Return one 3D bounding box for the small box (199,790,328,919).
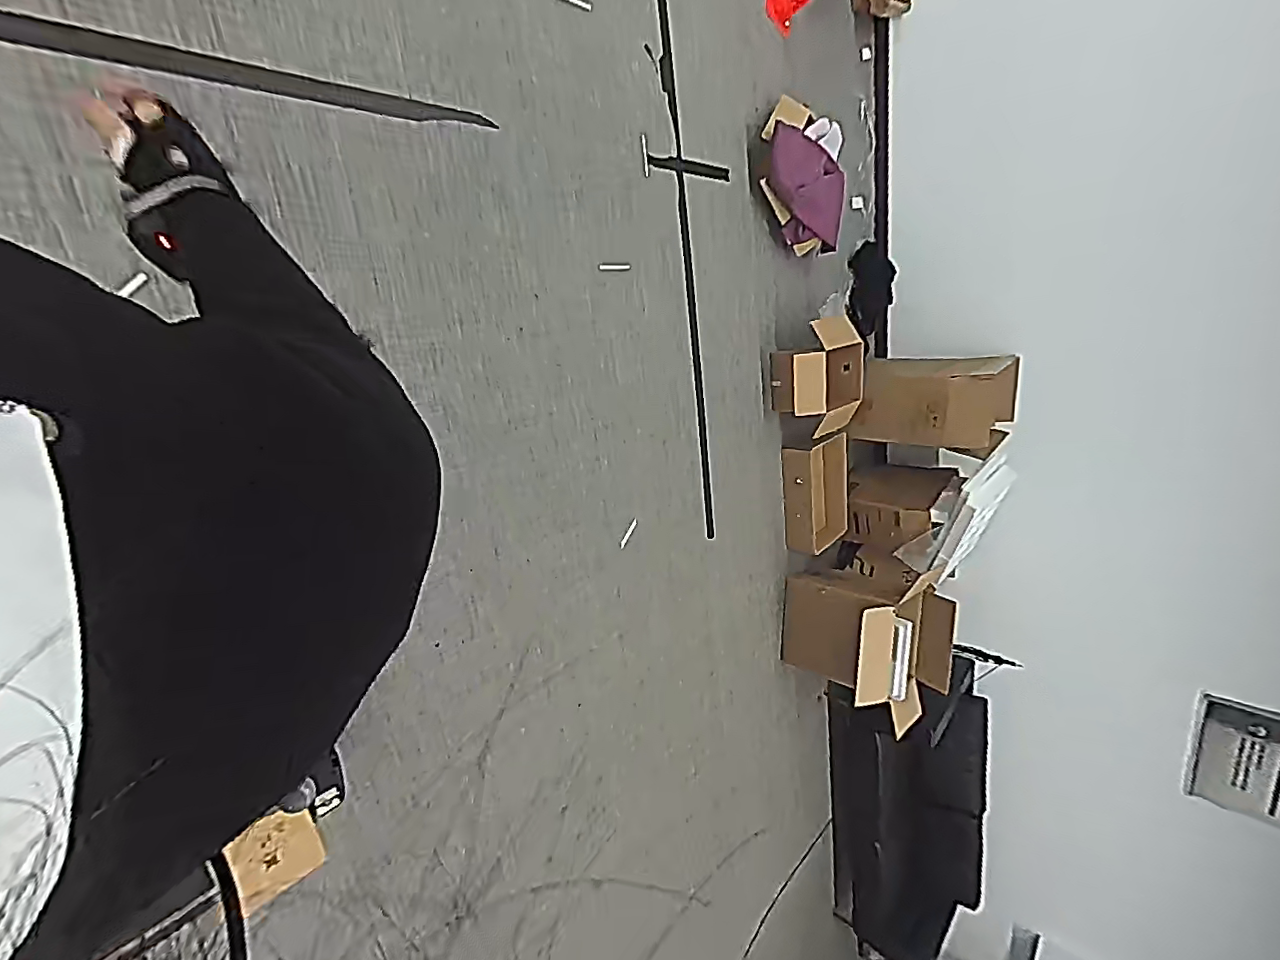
[{"bbox_3d":[-0.777,0.730,1.118,0.168,0.176,0.179,-24,113,-41],"label":"small box"}]
